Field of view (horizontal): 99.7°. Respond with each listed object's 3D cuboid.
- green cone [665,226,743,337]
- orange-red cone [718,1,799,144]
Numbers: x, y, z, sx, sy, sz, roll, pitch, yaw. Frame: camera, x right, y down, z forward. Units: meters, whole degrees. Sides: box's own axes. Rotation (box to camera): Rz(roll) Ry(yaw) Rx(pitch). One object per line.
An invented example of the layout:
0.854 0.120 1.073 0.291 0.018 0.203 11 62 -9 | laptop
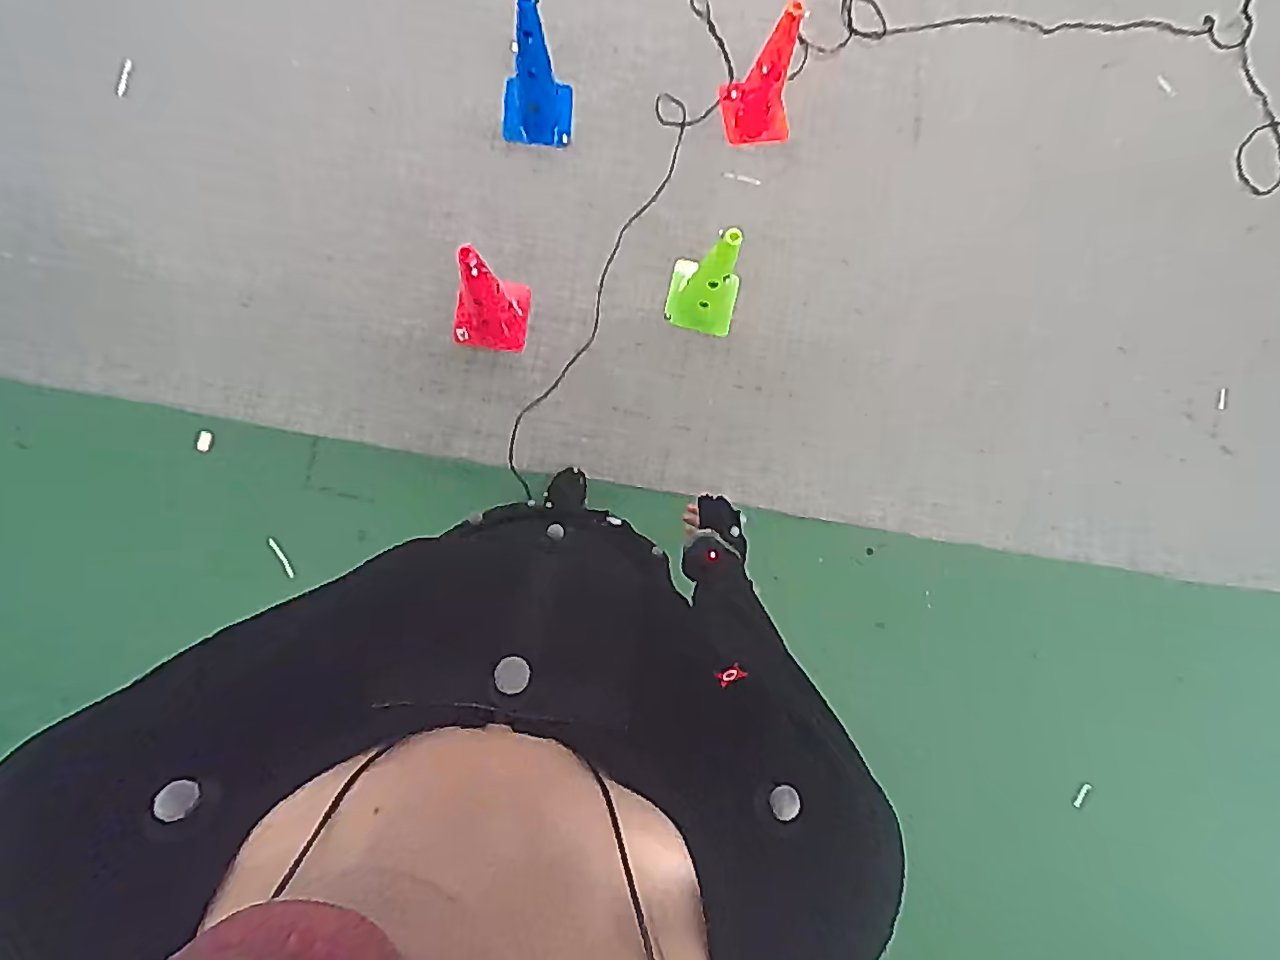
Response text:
0.204 -0.551 1.433 0.200 0.368 0.202 12 83 -5 | green cone
0.361 -1.148 1.502 0.198 0.360 0.199 -9 88 -5 | orange-red cone
